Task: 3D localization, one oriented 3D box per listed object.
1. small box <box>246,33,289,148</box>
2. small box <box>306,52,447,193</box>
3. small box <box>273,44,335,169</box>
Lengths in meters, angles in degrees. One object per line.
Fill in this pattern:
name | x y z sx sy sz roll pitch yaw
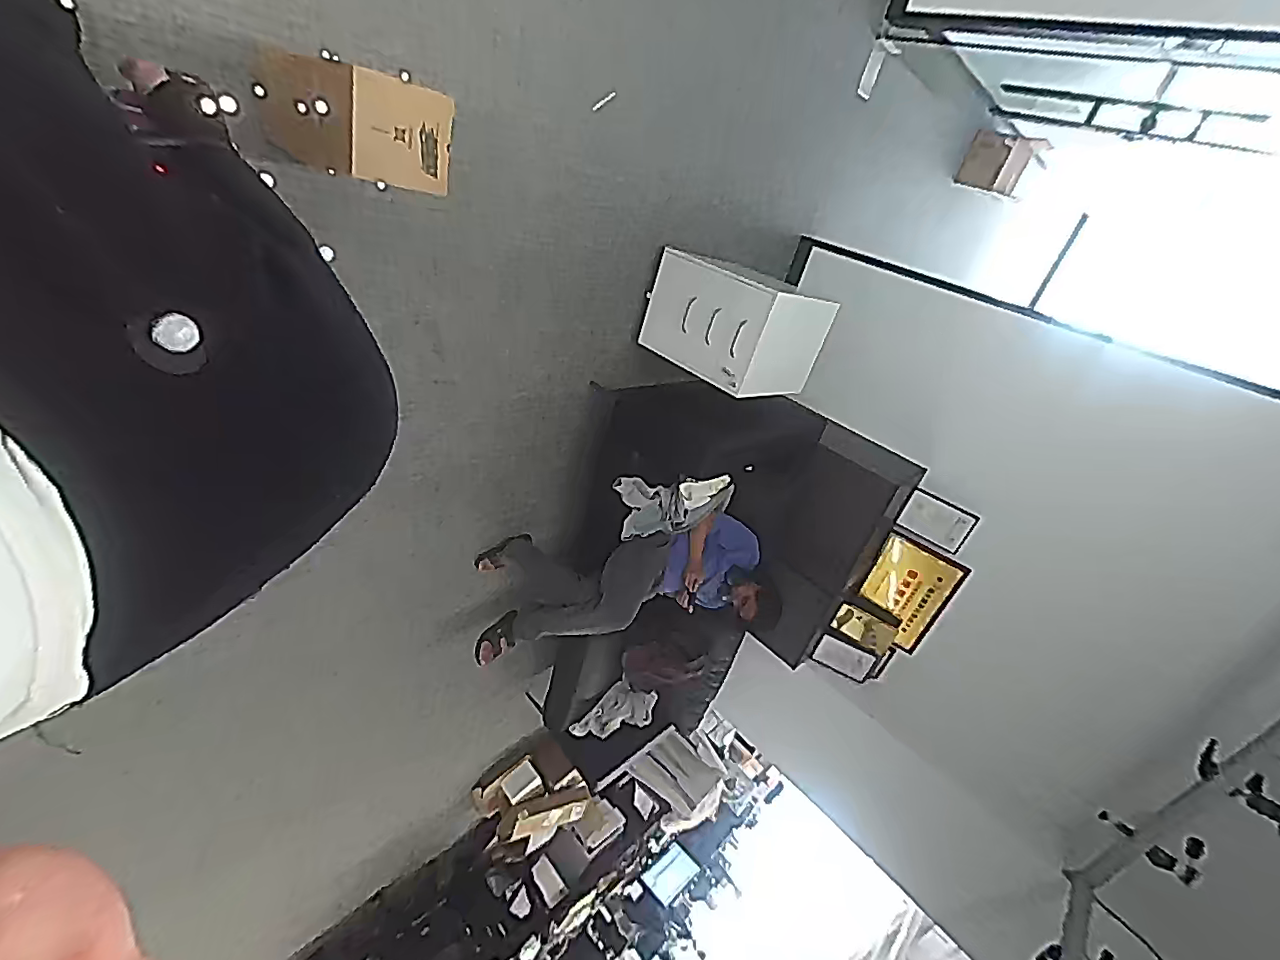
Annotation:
small box | -0.712 -0.807 1.148 0.168 0.176 0.179 -16 134 -46
small box | -0.480 -0.647 0.982 0.179 0.176 0.168 -14 132 -45
small box | -0.601 -0.723 1.066 0.168 0.176 0.179 -17 136 -45
